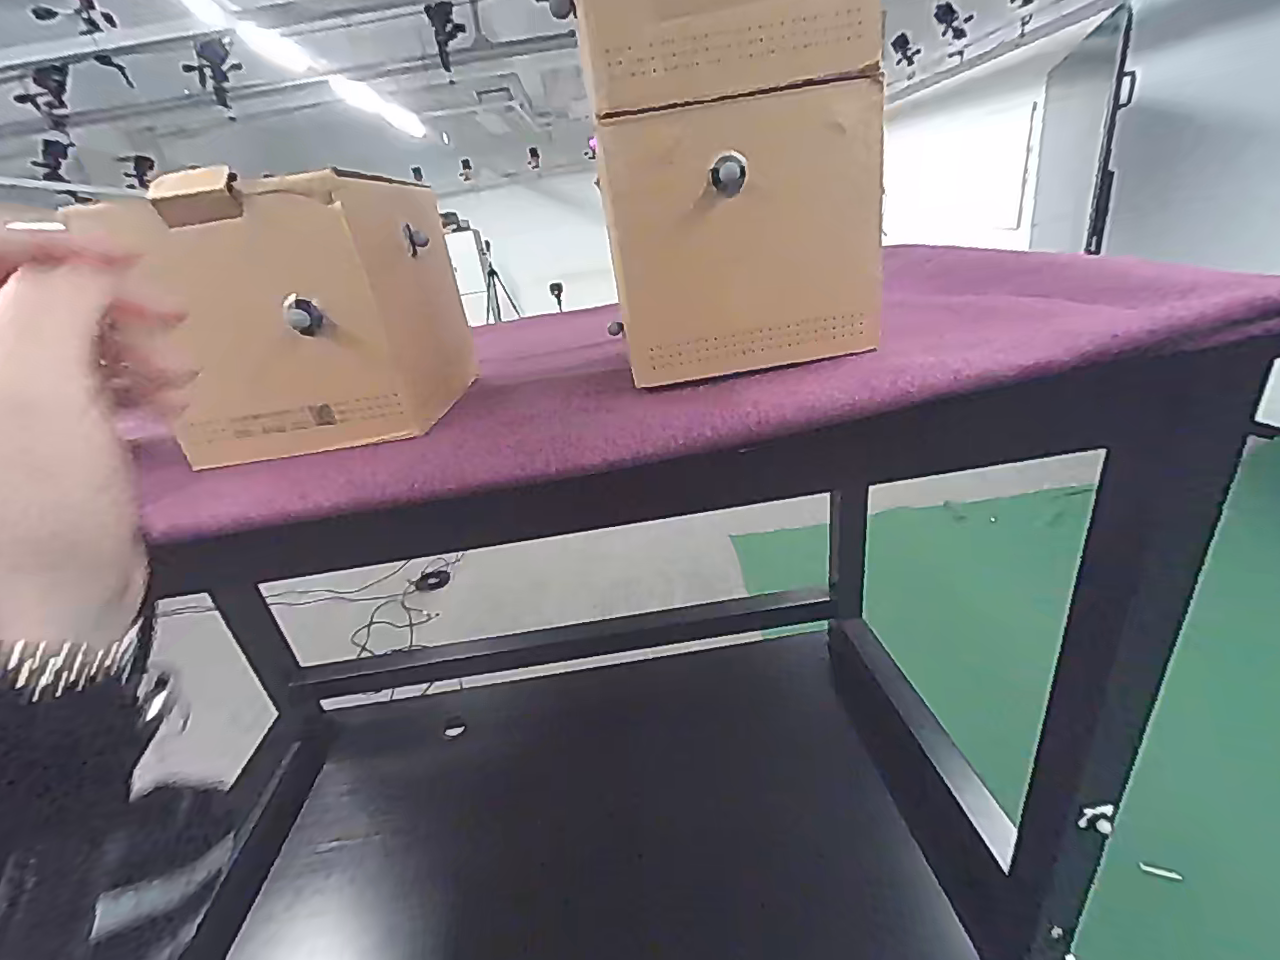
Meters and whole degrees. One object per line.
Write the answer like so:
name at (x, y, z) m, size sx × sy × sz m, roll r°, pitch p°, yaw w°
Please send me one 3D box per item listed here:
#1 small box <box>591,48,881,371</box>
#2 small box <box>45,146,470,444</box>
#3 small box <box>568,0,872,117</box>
small box at (0.064, -0.188, 0.415) m, size 0.179 × 0.176 × 0.168 m, roll -9°, pitch 23°, yaw -1°
small box at (-0.243, -0.131, 0.406) m, size 0.168 × 0.176 × 0.179 m, roll -7°, pitch 24°, yaw 1°
small box at (0.038, -0.337, 0.356) m, size 0.179 × 0.176 × 0.168 m, roll -9°, pitch 23°, yaw 0°
